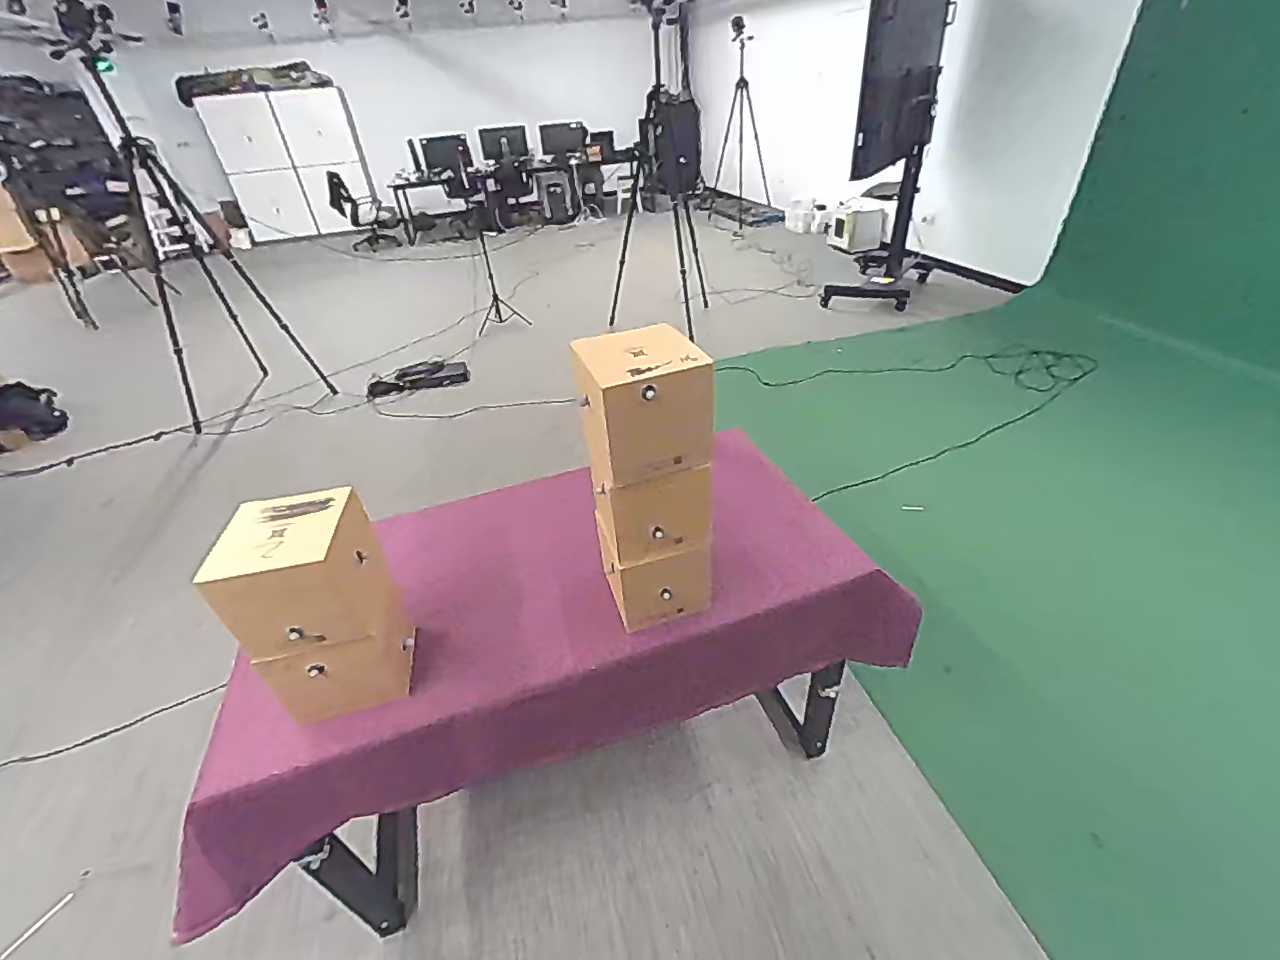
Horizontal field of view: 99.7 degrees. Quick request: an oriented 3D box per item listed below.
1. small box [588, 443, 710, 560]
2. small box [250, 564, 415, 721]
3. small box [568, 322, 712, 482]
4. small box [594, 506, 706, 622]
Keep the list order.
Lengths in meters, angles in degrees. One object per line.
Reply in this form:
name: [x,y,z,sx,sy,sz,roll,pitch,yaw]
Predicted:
small box: [0.010,0.008,0.929,0.168,0.176,0.179,-14,38,-11]
small box: [-0.500,0.274,0.910,0.179,0.176,0.168,-12,37,-10]
small box: [-0.001,-0.122,0.829,0.168,0.176,0.179,-17,38,-14]
small box: [0.020,0.144,1.019,0.168,0.176,0.179,-14,37,-12]
